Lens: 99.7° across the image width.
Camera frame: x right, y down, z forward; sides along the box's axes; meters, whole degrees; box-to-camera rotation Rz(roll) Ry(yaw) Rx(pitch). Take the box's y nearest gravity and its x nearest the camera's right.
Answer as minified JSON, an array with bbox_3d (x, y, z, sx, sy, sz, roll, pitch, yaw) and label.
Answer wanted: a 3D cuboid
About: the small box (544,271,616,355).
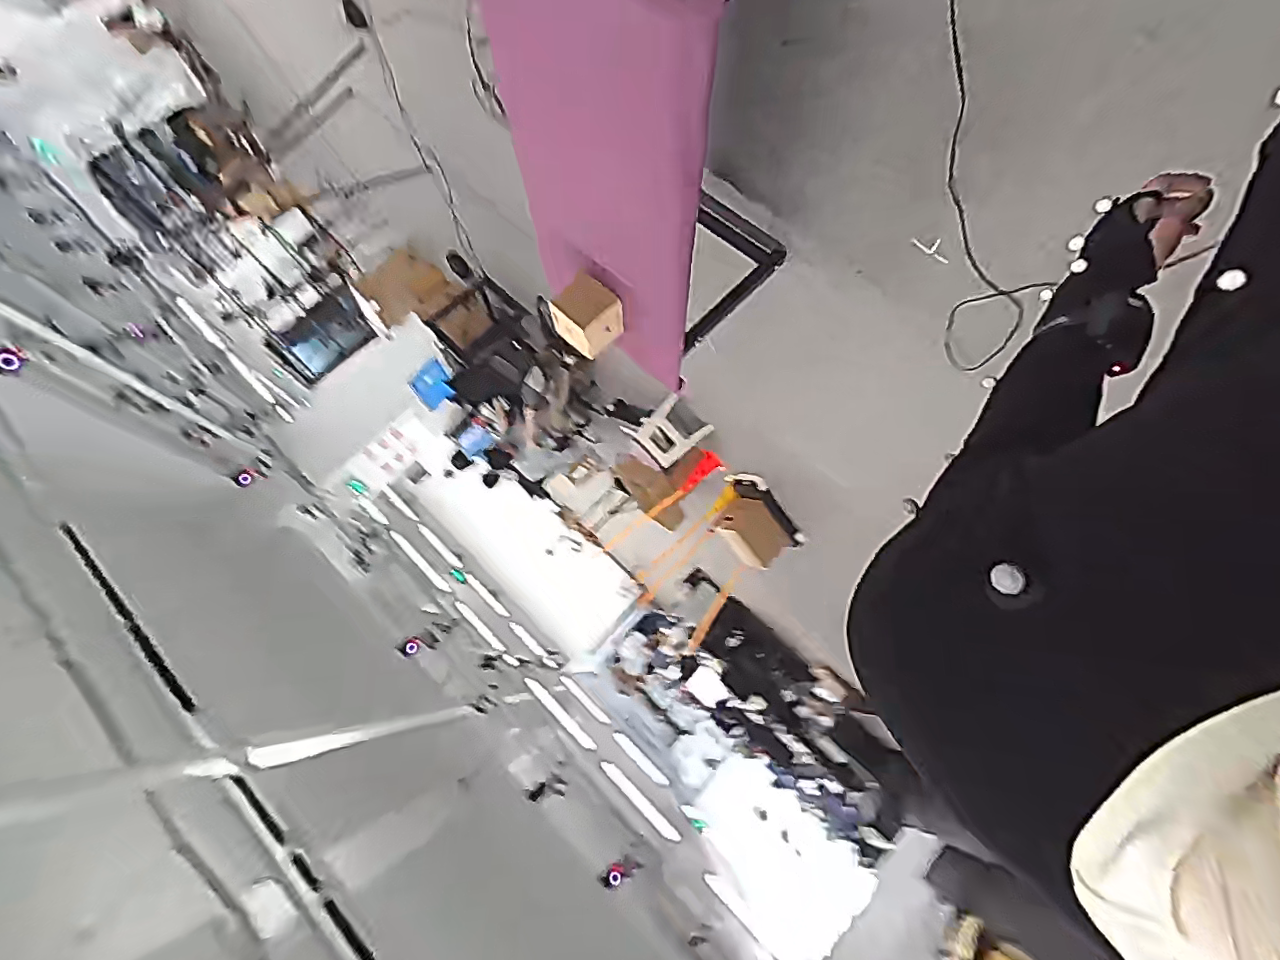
[{"bbox_3d":[-0.193,-0.562,1.814,0.179,0.176,0.168,41,164,15],"label":"small box"}]
